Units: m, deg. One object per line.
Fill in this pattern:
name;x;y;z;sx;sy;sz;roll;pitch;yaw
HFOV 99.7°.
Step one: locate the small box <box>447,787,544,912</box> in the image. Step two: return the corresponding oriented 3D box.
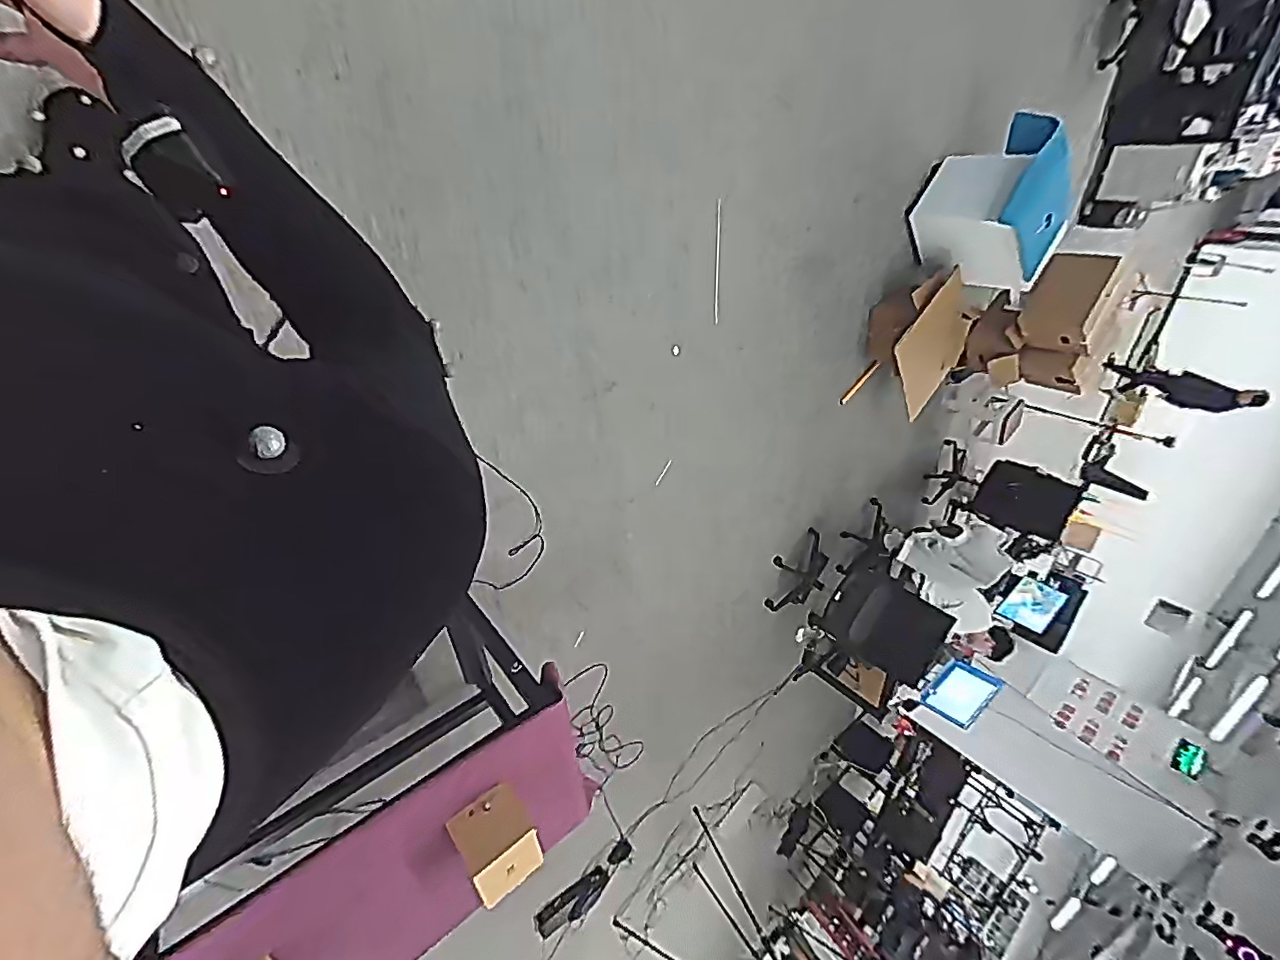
small box;-0.370;0.935;1.383;0.168;0.176;0.179;-27;129;-32
